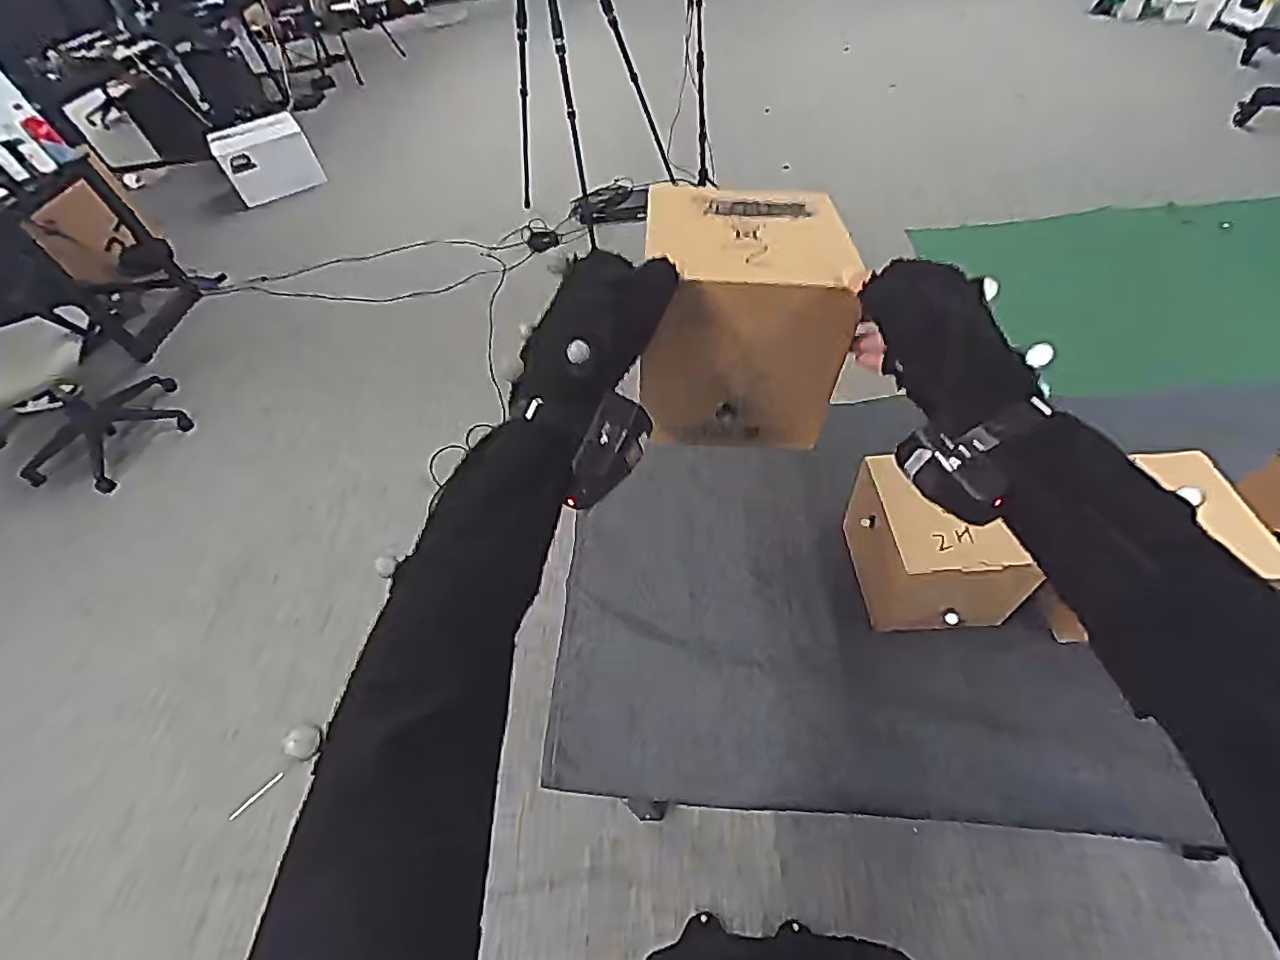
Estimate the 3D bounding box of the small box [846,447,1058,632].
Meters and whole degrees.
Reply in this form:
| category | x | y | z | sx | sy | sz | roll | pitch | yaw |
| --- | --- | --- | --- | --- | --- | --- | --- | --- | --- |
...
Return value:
| category | x | y | z | sx | sy | sz | roll | pitch | yaw |
| --- | --- | --- | --- | --- | --- | --- | --- | --- | --- |
| small box | 0.382 | 0.081 | 0.706 | 0.168 | 0.176 | 0.179 | -5 | 51 | 5 |

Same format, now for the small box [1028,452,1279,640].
| category | x | y | z | sx | sy | sz | roll | pitch | yaw |
| --- | --- | --- | --- | --- | --- | --- | --- | --- | --- |
| small box | 0.603 | 0.089 | 0.669 | 0.168 | 0.176 | 0.179 | -4 | 51 | 6 |
